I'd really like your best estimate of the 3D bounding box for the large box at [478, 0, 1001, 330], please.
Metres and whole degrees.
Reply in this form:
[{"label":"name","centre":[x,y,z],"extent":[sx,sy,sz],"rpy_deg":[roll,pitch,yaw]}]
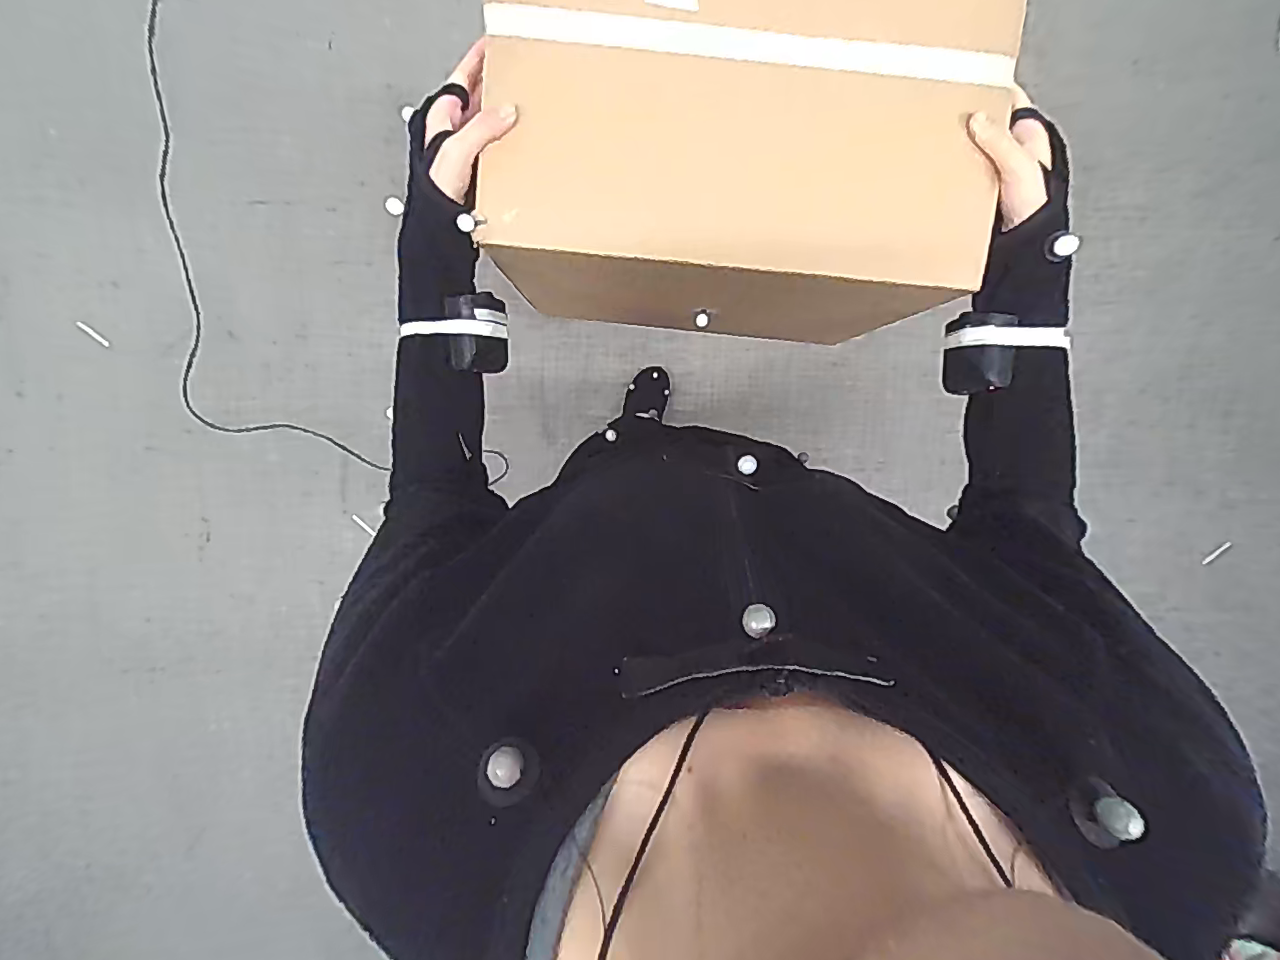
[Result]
[{"label":"large box","centre":[0.078,-0.348,0.573],"extent":[0.408,0.320,0.320],"rpy_deg":[6,97,-1]}]
